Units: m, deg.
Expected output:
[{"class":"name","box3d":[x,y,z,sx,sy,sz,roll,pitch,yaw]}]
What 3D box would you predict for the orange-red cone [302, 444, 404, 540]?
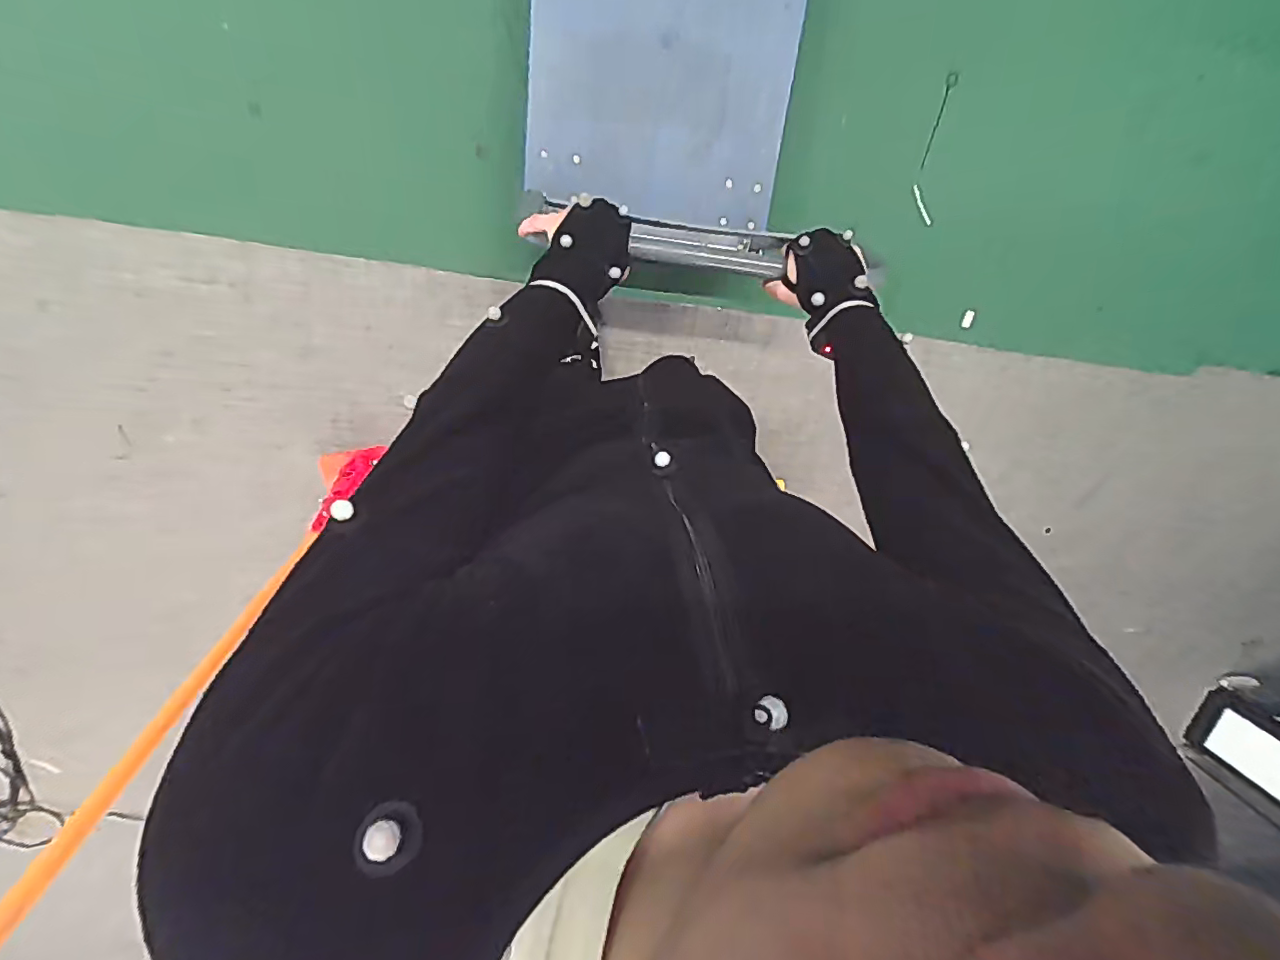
[{"class":"orange-red cone","box3d":[-0.770,0.059,1.384,0.199,0.360,0.198,-9,112,-4]}]
